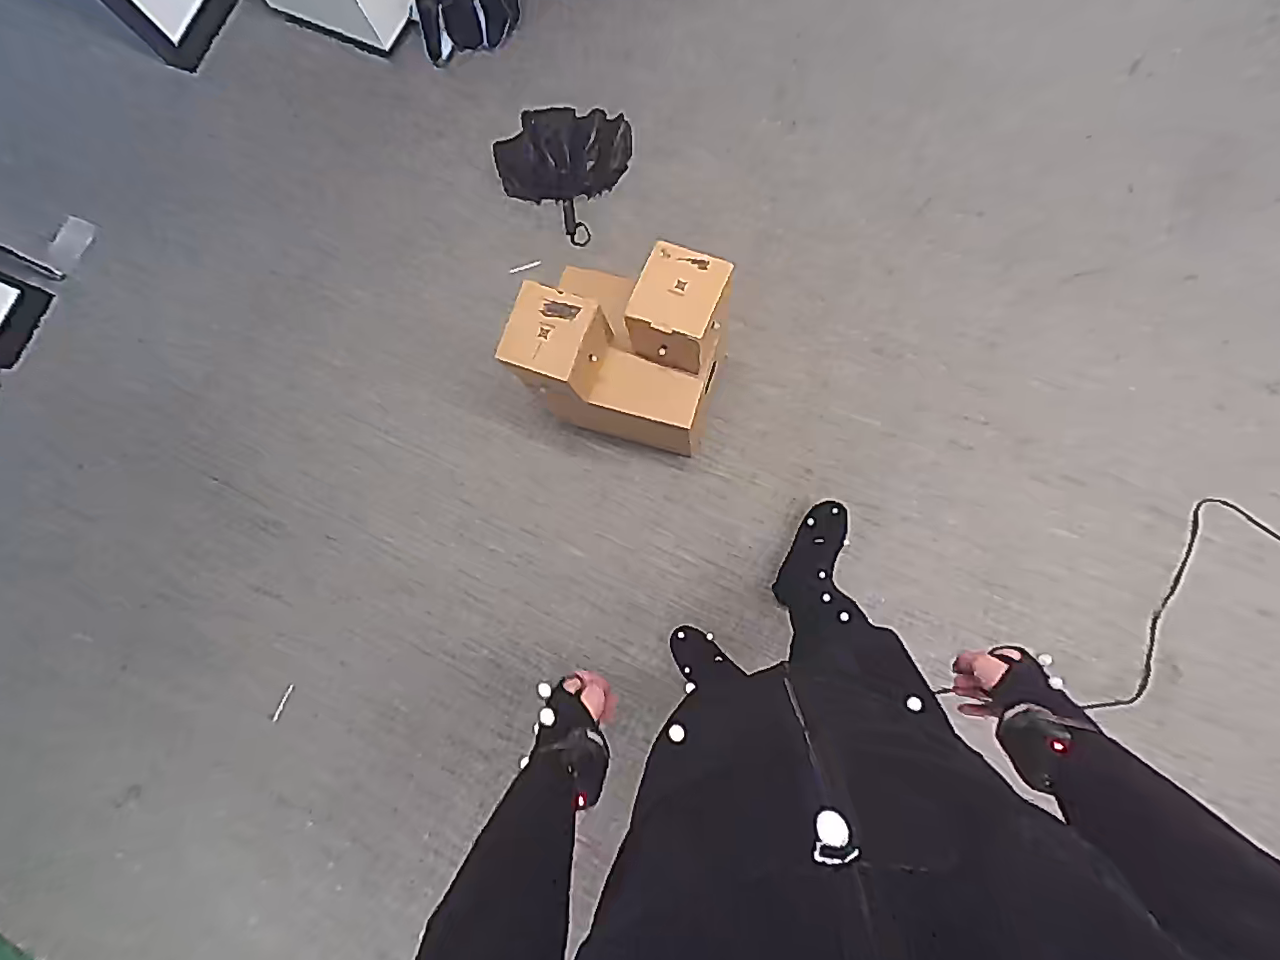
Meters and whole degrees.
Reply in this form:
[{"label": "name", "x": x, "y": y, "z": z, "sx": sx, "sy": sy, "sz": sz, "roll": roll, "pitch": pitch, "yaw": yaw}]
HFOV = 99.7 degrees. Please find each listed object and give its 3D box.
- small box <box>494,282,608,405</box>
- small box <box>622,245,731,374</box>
[{"label": "small box", "x": -0.178, "y": -0.281, "z": 1.146, "sx": 0.168, "sy": 0.176, "sz": 0.179, "roll": 20, "pitch": 85, "yaw": 10}, {"label": "small box", "x": 0.081, "y": -0.346, "z": 1.131, "sx": 0.168, "sy": 0.176, "sz": 0.179, "roll": 23, "pitch": 81, "yaw": 10}]
